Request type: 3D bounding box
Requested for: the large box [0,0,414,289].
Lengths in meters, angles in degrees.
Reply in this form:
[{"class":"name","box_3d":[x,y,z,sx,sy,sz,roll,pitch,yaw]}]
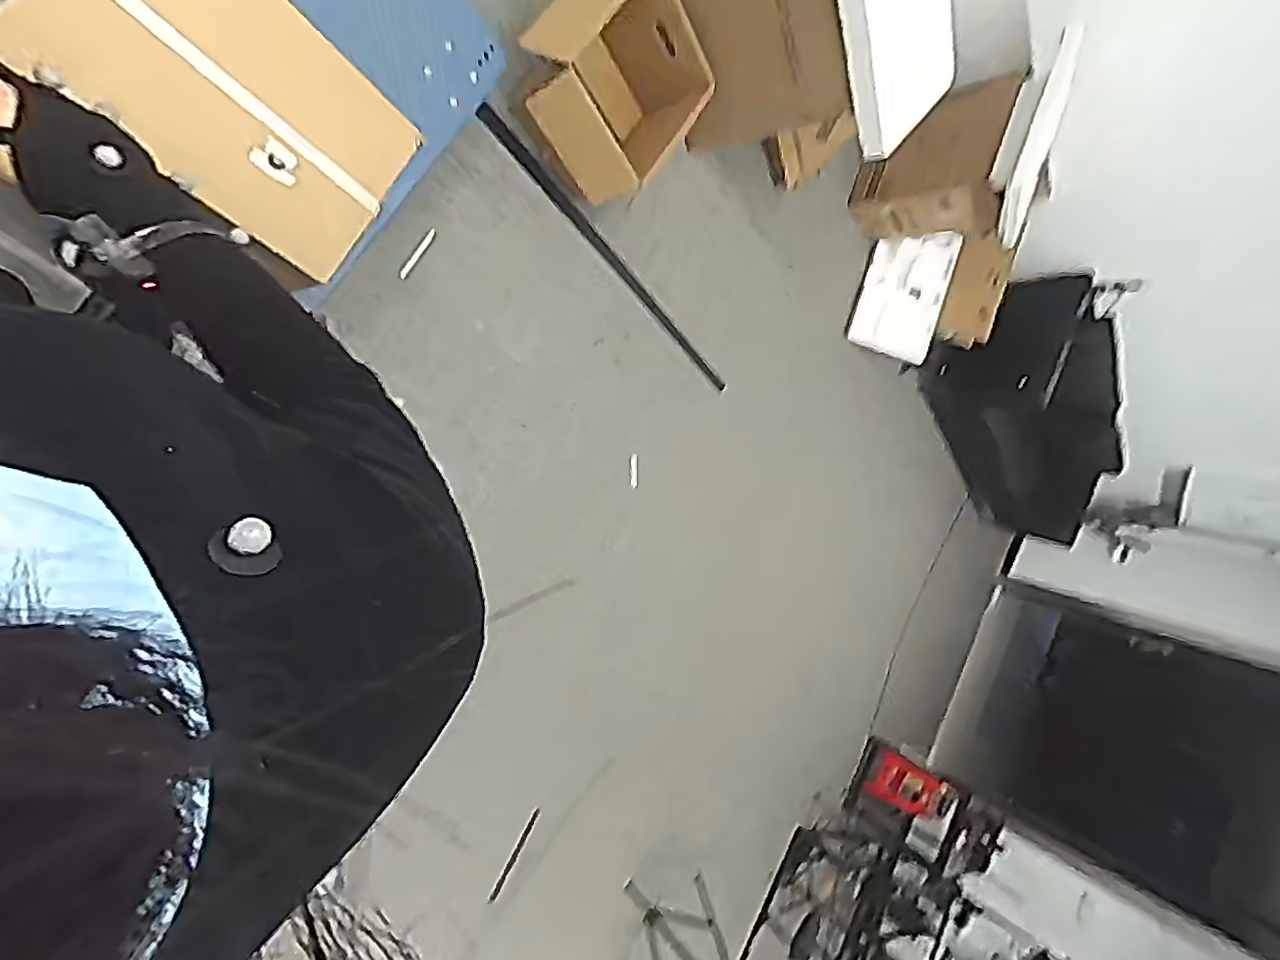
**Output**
[{"class":"large box","box_3d":[-0.673,-0.569,0.878,0.408,0.320,0.320,37,77,-43]}]
